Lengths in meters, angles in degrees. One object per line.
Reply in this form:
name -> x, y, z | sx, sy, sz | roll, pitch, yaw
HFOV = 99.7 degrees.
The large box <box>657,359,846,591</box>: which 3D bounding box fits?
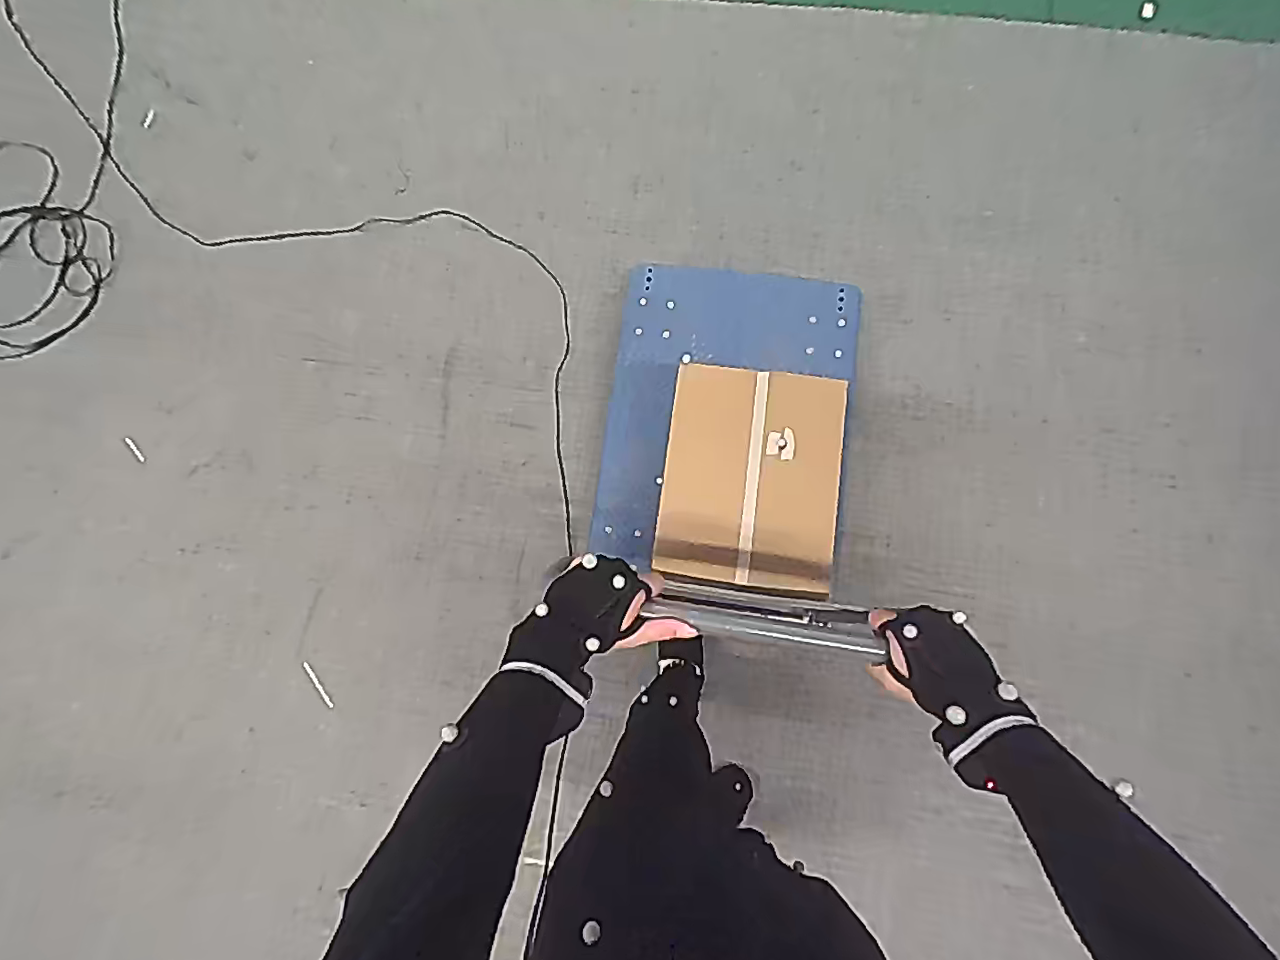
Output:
large box -> 0.212, 0.011, 1.114 | 0.320, 0.320, 0.408 | 7, 80, 3
